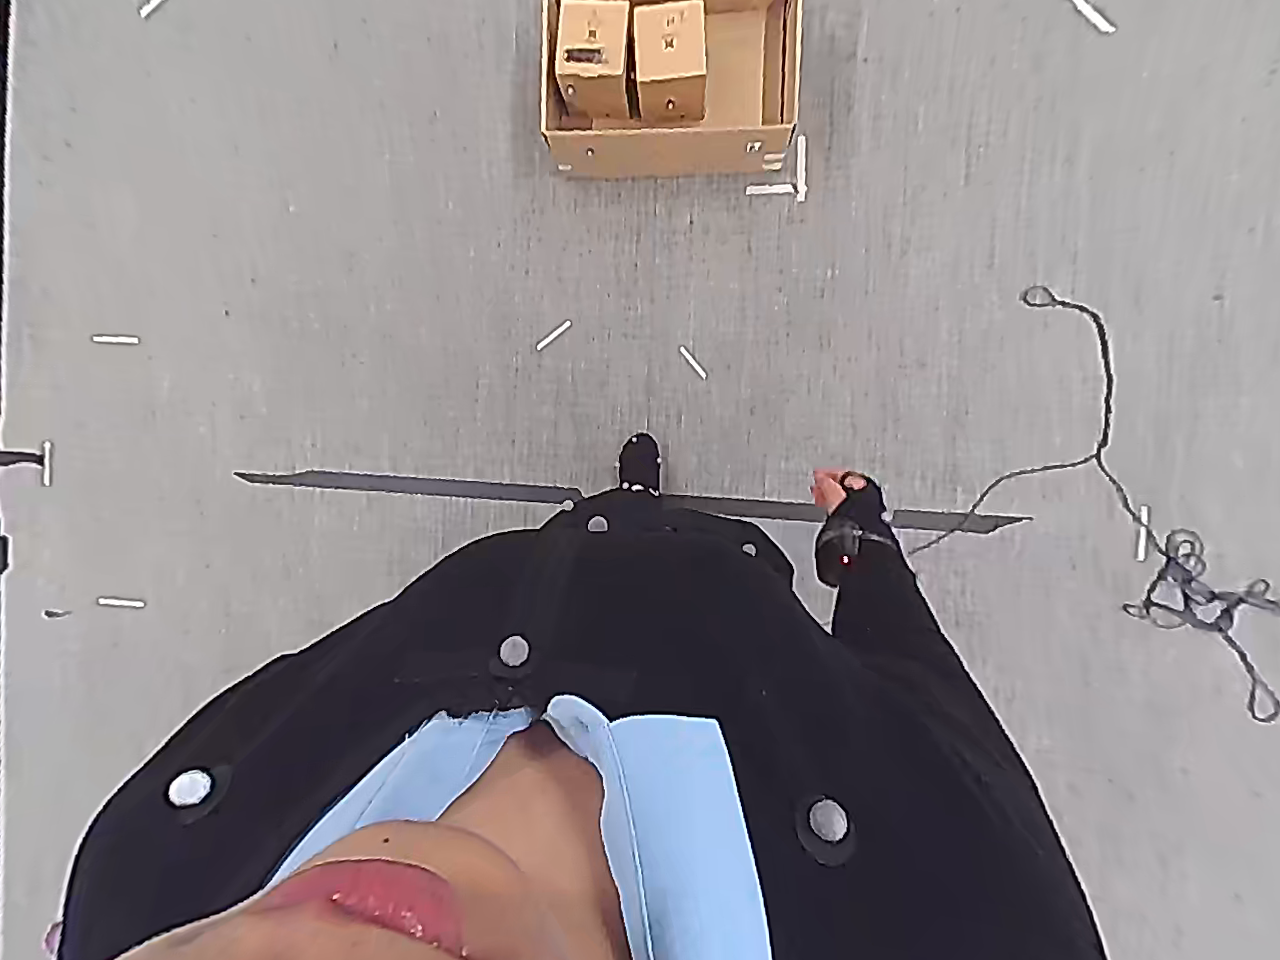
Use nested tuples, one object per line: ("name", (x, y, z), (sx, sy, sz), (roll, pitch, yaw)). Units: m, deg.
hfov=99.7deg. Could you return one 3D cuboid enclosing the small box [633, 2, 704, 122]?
("small box", (0.076, -1.022, 1.342), (0.168, 0.176, 0.179), (-2, 91, 5))
